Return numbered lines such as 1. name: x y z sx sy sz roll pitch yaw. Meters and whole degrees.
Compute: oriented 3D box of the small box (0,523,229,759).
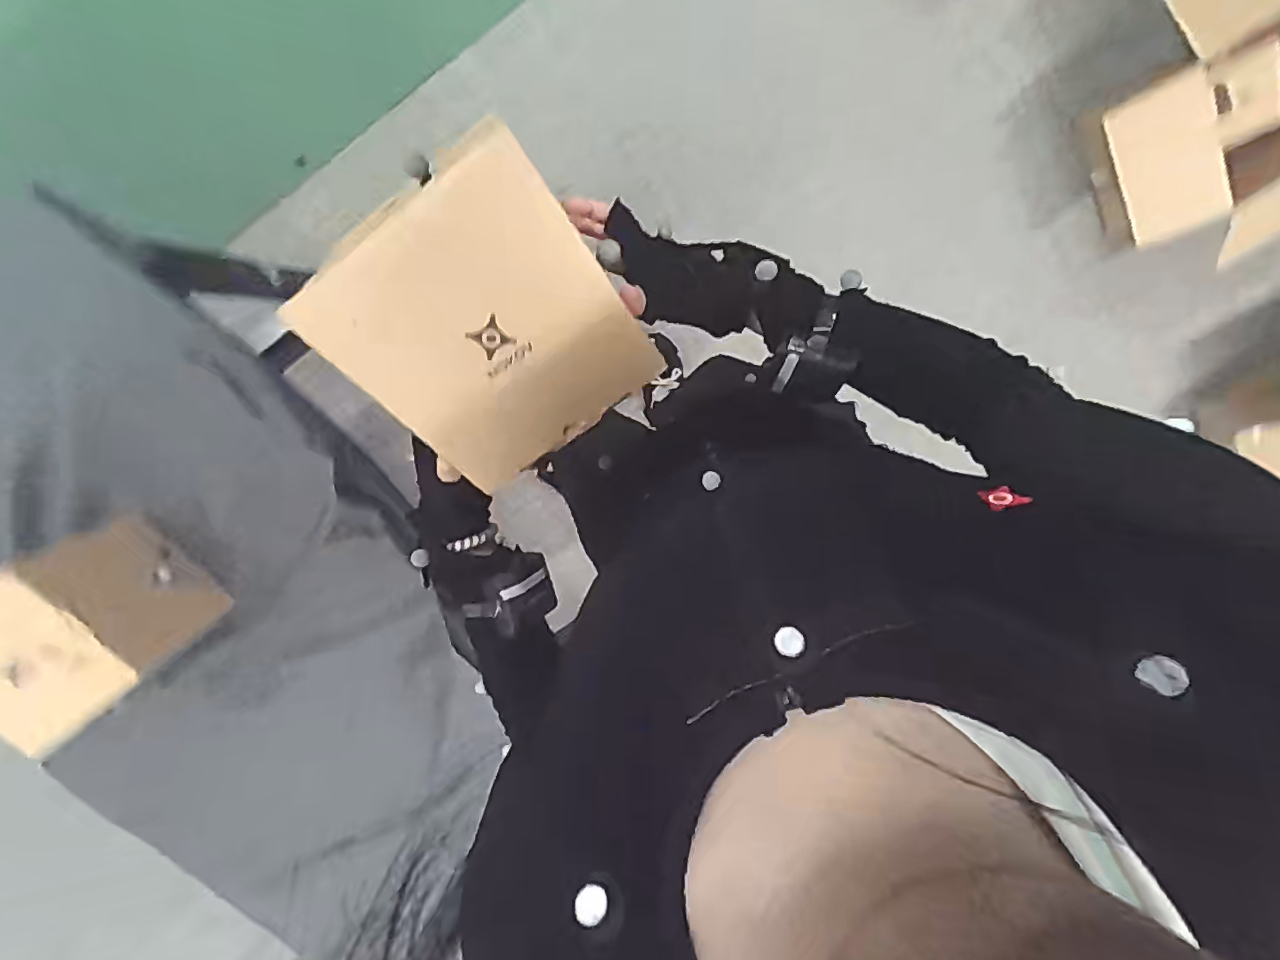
1. small box: -0.664 0.183 0.655 0.179 0.176 0.168 -37 106 6
